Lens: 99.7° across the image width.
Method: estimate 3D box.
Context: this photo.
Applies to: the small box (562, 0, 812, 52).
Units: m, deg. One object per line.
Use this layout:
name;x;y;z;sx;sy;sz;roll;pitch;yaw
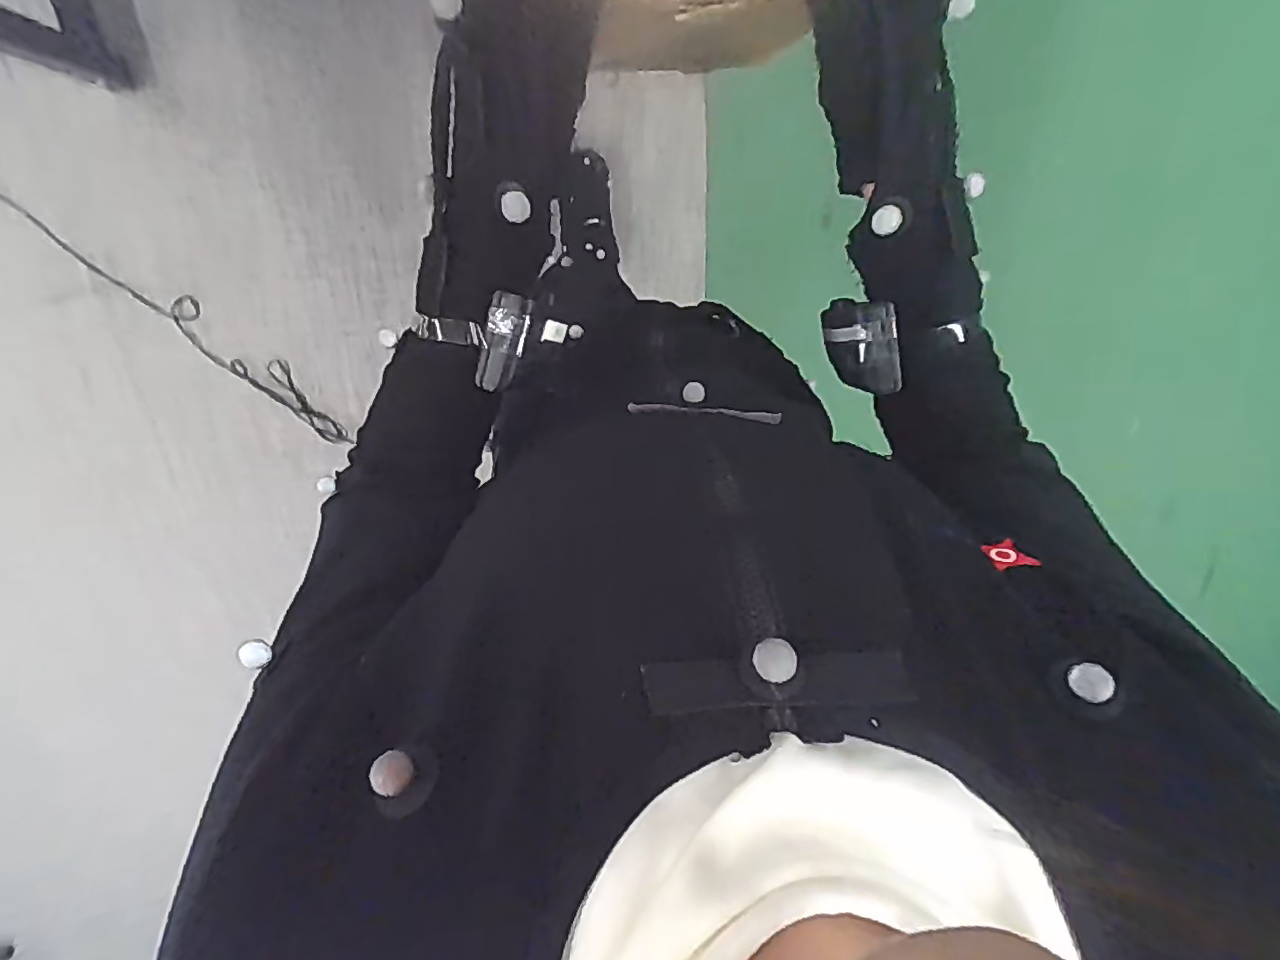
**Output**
small box;0.030;-0.377;0.318;0.168;0.176;0.179;-6;115;-5
